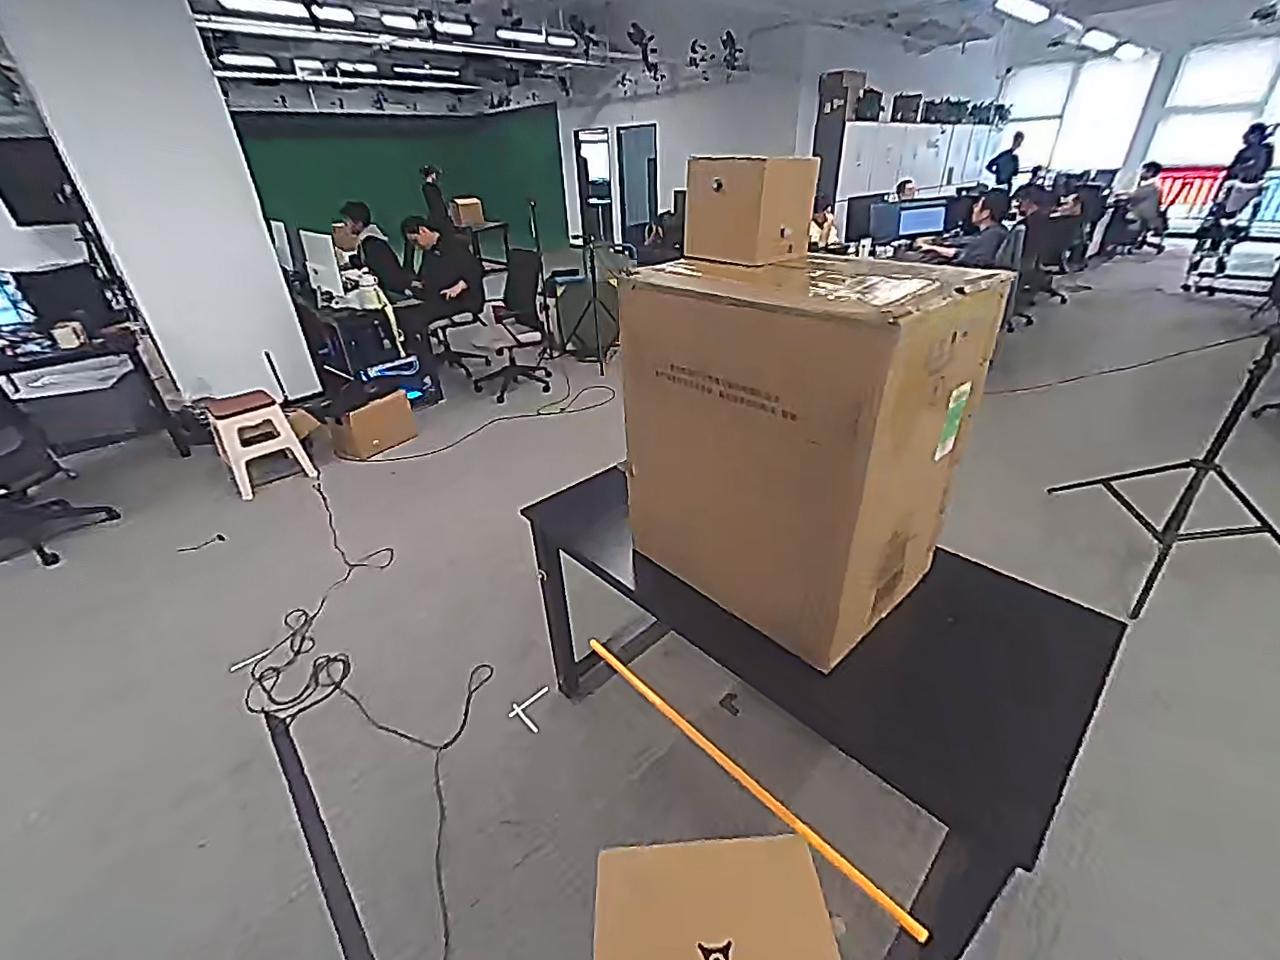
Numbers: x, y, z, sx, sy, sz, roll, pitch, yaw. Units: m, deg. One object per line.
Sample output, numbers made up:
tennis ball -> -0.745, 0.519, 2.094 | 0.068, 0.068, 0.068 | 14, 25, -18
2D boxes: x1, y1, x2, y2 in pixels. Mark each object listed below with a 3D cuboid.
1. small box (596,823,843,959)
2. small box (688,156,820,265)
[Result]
small box -> 0.058, 0.389, 0.390 | 0.168, 0.176, 0.179 | -6, 26, 2
small box -> 0.203, -0.501, 1.006 | 0.168, 0.176, 0.179 | -25, 39, -35
